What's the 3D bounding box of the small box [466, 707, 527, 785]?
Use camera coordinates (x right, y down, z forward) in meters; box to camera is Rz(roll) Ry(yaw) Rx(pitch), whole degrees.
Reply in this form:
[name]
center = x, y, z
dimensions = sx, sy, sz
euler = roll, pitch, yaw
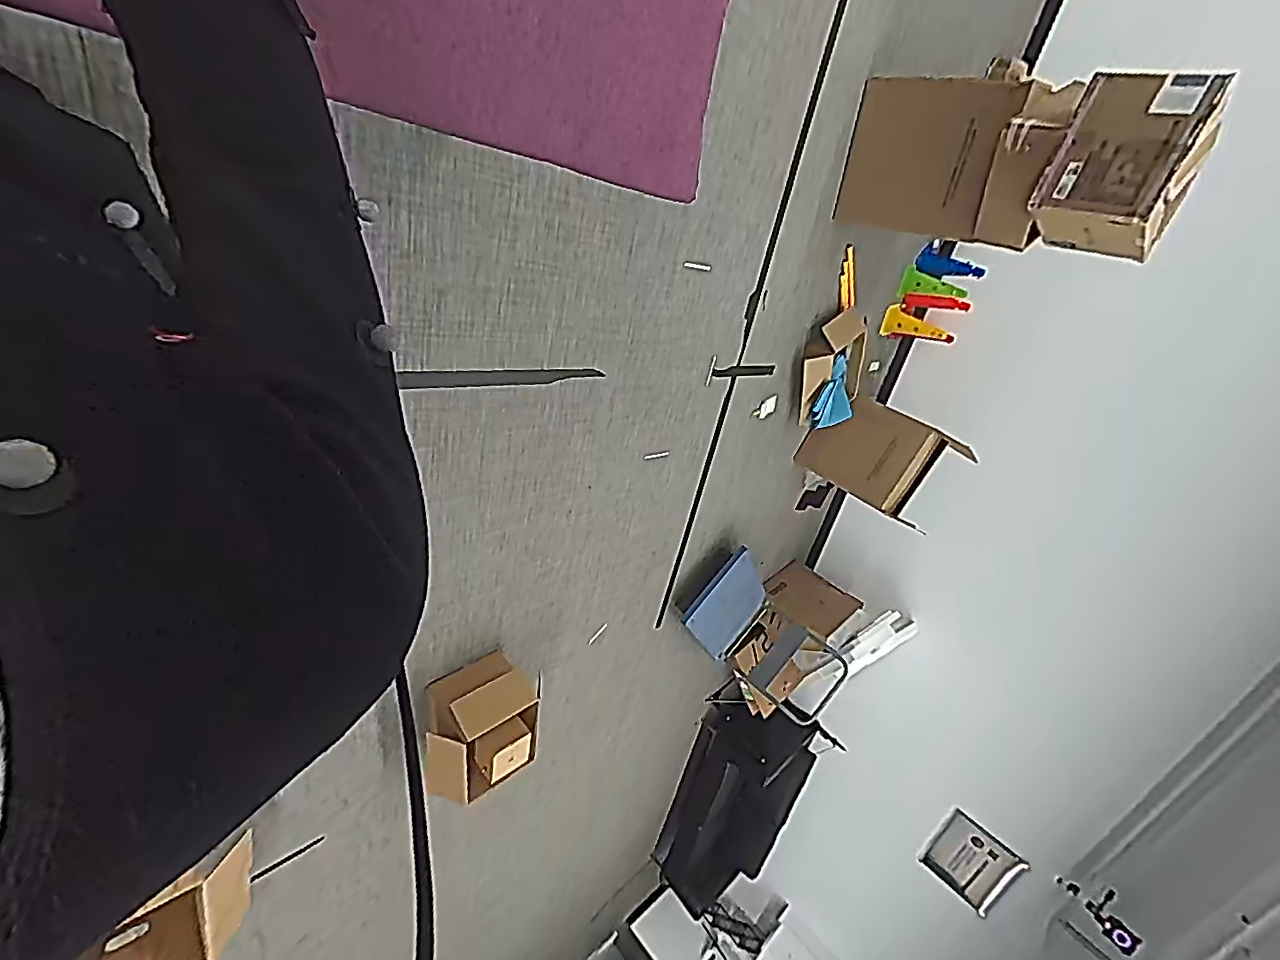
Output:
[small box]
center = -0.561, 1.027, 2.104
dimensions = 0.168, 0.176, 0.179
euler = -17, 129, -42
